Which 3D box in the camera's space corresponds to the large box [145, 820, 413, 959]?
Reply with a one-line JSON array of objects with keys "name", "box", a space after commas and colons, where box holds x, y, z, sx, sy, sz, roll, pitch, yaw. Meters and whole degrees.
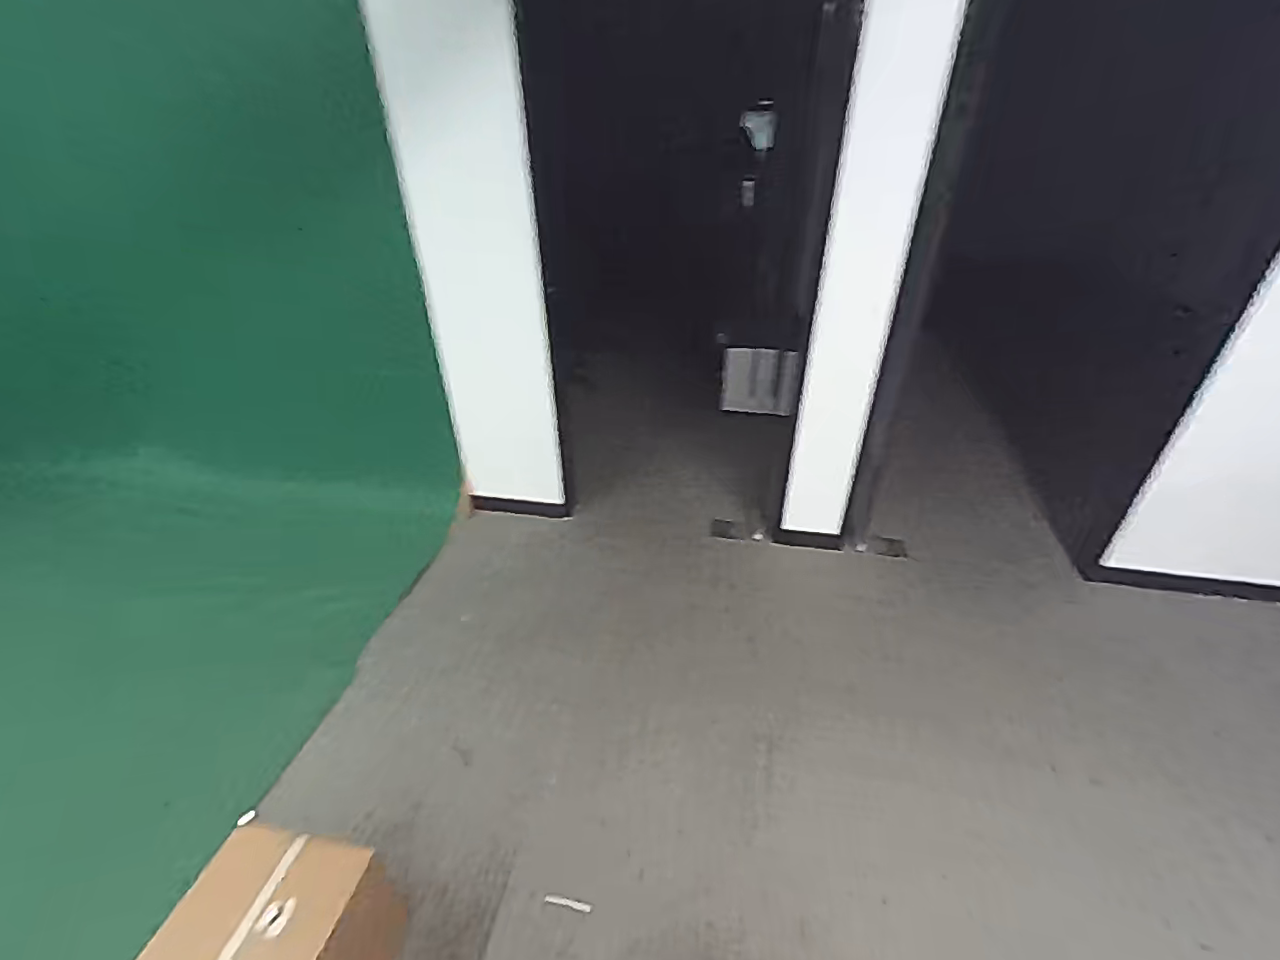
[{"name": "large box", "box": [-0.702, 0.954, 1.021, 0.320, 0.320, 0.408, 5, 32, 10]}]
